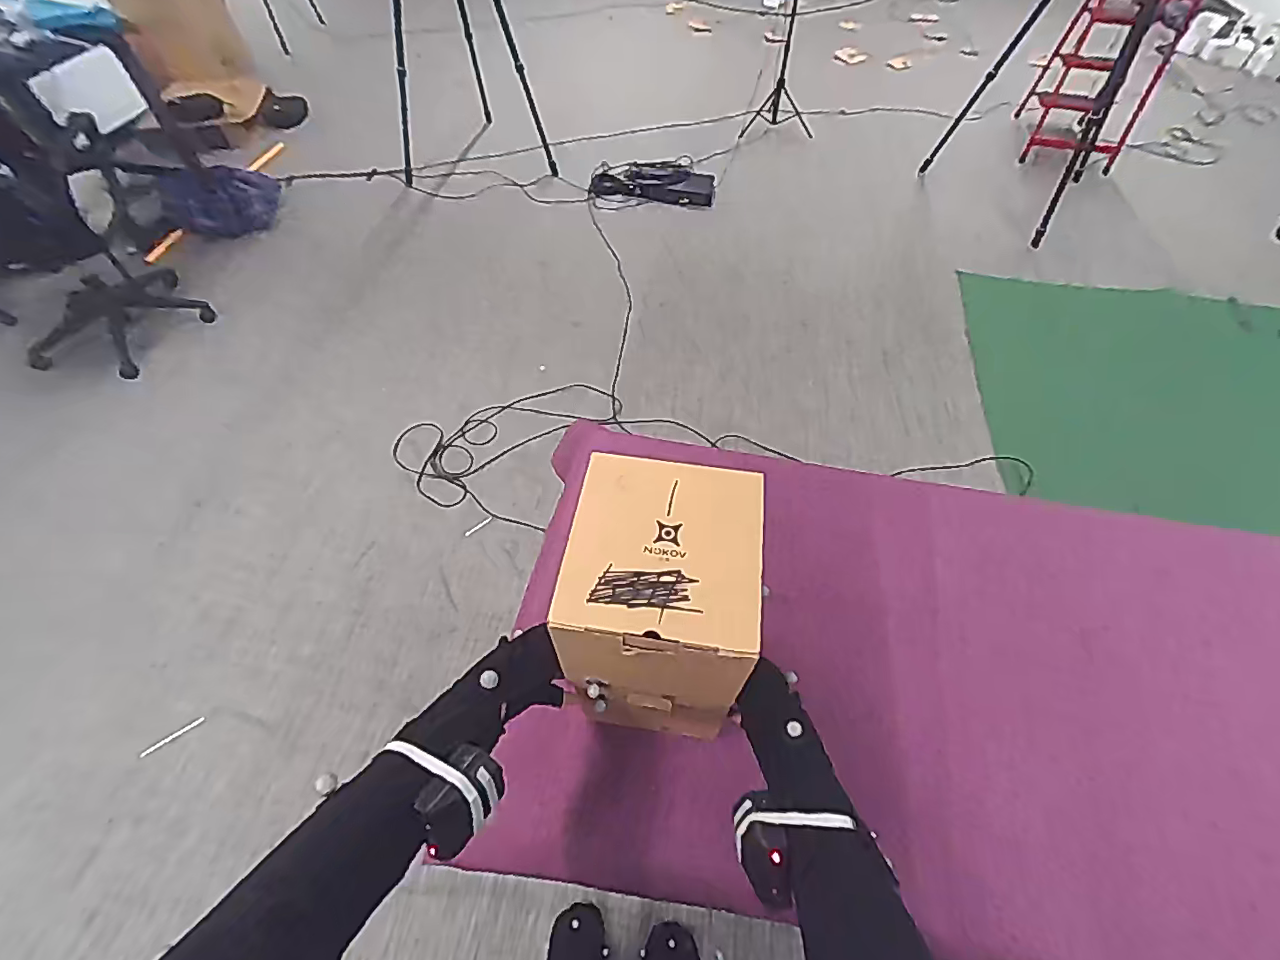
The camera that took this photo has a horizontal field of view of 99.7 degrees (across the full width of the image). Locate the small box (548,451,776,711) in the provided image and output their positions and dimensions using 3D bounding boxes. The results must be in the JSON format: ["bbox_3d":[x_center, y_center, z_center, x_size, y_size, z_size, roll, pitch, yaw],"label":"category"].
[{"bbox_3d":[0.024,0.103,0.516,0.168,0.176,0.179,11,55,5],"label":"small box"}]
